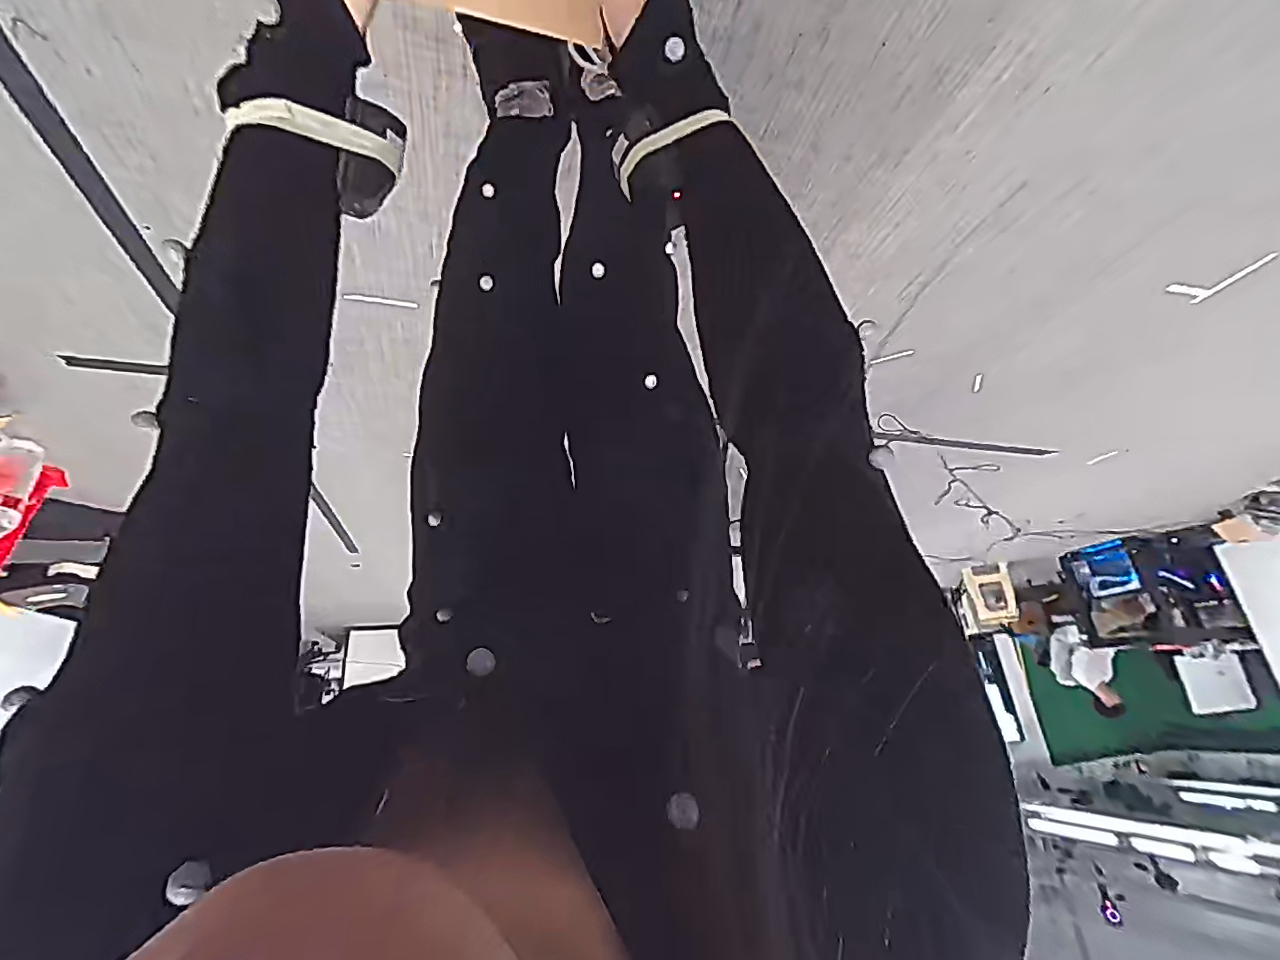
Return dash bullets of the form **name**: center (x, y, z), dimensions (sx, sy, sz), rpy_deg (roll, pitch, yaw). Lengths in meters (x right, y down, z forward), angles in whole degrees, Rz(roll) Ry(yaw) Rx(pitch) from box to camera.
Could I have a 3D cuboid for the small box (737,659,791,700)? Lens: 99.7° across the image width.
- **small box**: center (0.564, 0.914, 2.475), dimensions (0.179, 0.176, 0.168), rpy_deg (3, 157, -14)
